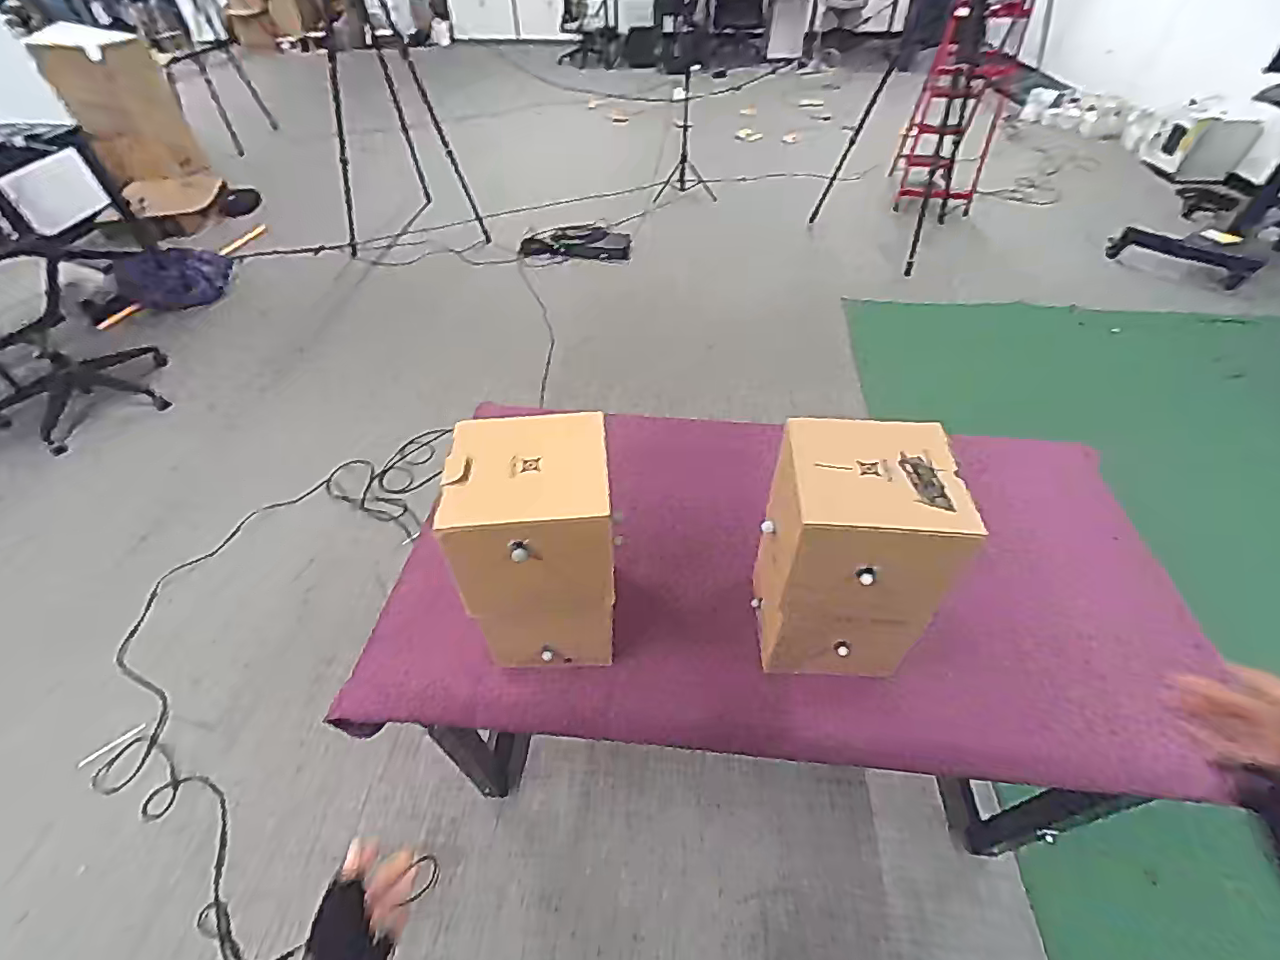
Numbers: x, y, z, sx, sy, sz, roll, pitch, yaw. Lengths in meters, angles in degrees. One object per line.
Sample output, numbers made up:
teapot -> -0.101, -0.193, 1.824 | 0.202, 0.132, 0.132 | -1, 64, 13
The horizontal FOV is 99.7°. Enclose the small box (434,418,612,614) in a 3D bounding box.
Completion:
small box -> -0.124, 0.045, 0.647 | 0.179, 0.176, 0.168 | -3, 46, -4

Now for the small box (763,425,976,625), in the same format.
small box -> 0.249, 0.056, 0.640 | 0.179, 0.176, 0.168 | 4, 46, 5

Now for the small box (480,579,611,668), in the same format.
small box -> -0.128, 0.149, 0.773 | 0.168, 0.176, 0.179 | 0, 47, -1
